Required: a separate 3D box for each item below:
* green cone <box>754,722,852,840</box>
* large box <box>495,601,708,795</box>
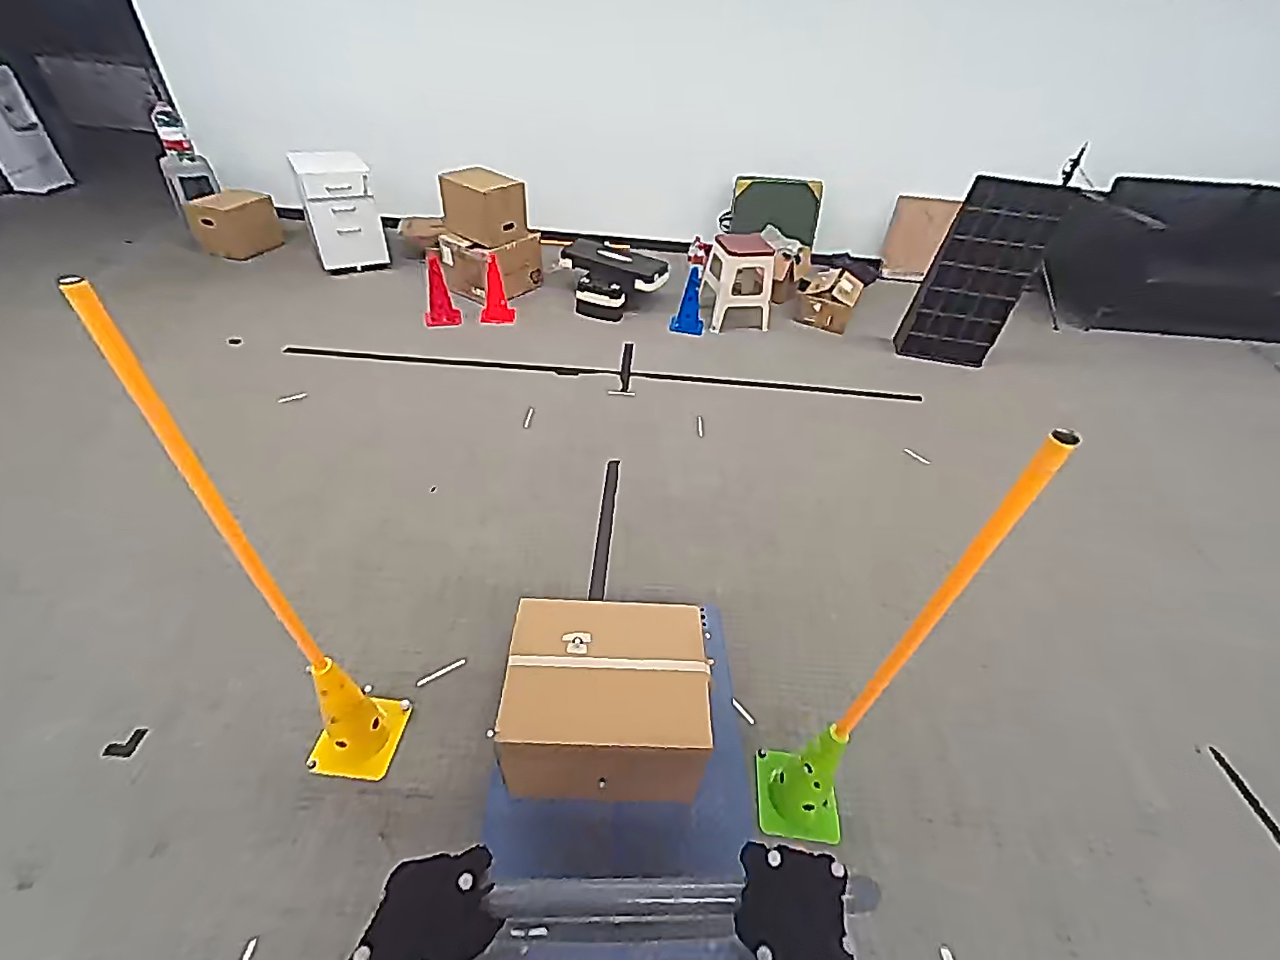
[{"bbox_3d":[0.413,0.674,1.278,0.202,0.368,0.200,8,42,1],"label":"green cone"},{"bbox_3d":[-0.076,0.491,1.212,0.408,0.320,0.320,3,42,-2],"label":"large box"}]
